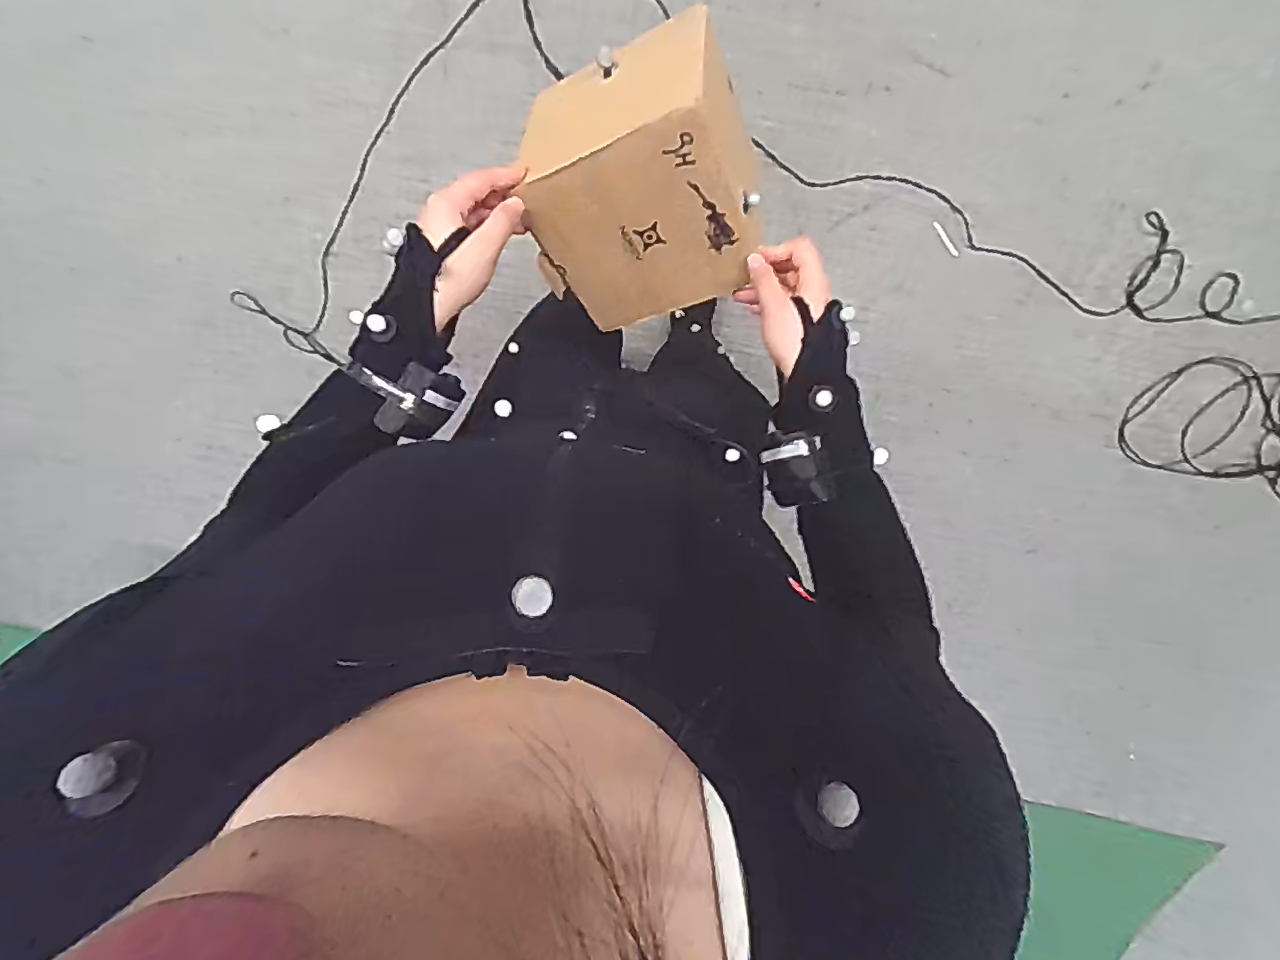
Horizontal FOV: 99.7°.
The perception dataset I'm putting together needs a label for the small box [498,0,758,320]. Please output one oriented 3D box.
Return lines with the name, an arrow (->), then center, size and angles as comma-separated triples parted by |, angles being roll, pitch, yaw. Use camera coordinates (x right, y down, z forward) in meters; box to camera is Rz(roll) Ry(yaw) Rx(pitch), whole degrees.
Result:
small box -> 0.004, -0.286, 0.499 | 0.179, 0.176, 0.168 | -11, 145, 26
